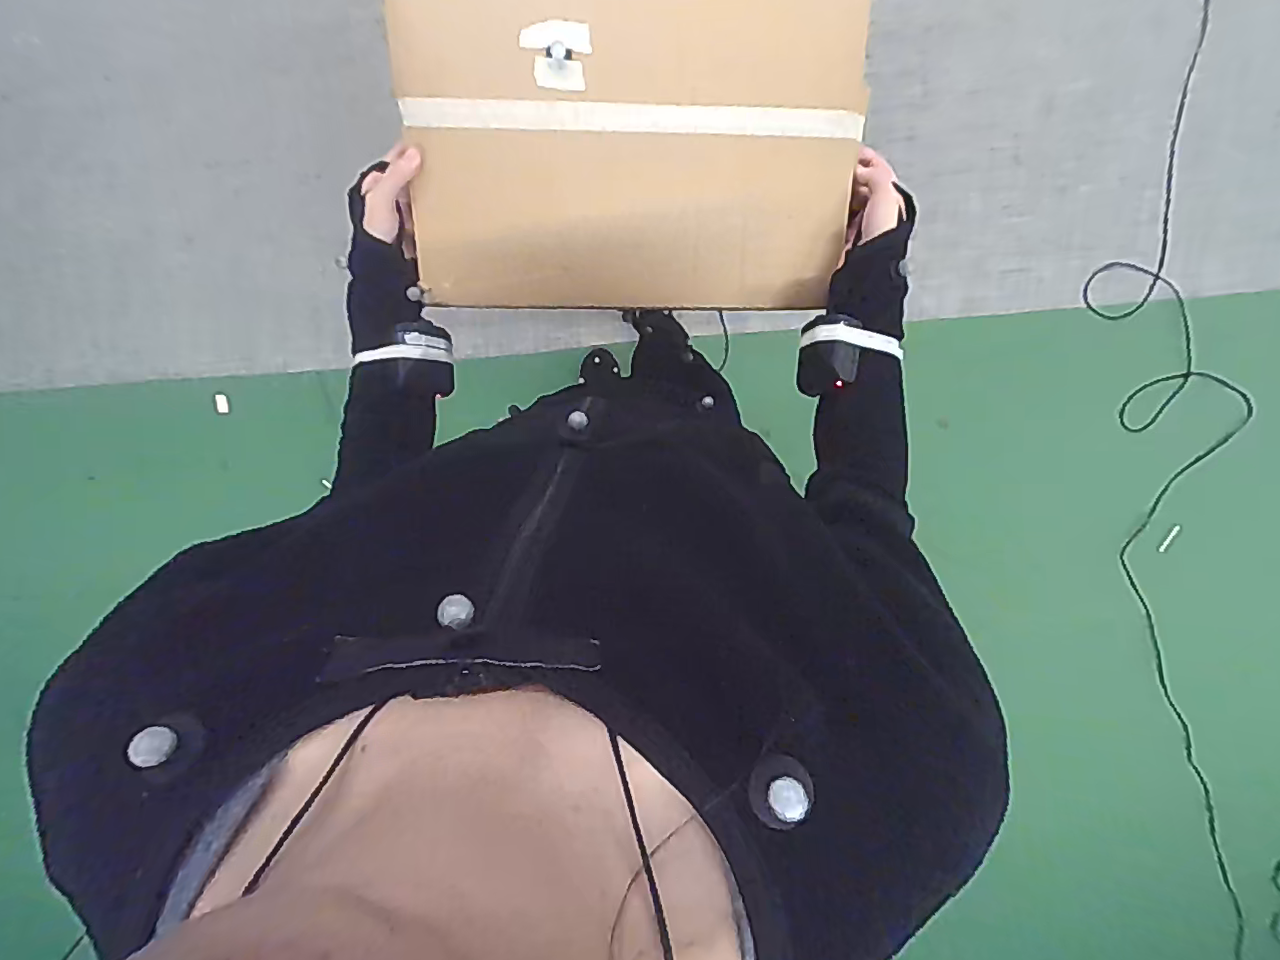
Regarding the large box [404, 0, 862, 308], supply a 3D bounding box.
[{"bbox_3d":[-0.012,-0.372,0.636,0.408,0.320,0.320,0,108,-4],"label":"large box"}]
